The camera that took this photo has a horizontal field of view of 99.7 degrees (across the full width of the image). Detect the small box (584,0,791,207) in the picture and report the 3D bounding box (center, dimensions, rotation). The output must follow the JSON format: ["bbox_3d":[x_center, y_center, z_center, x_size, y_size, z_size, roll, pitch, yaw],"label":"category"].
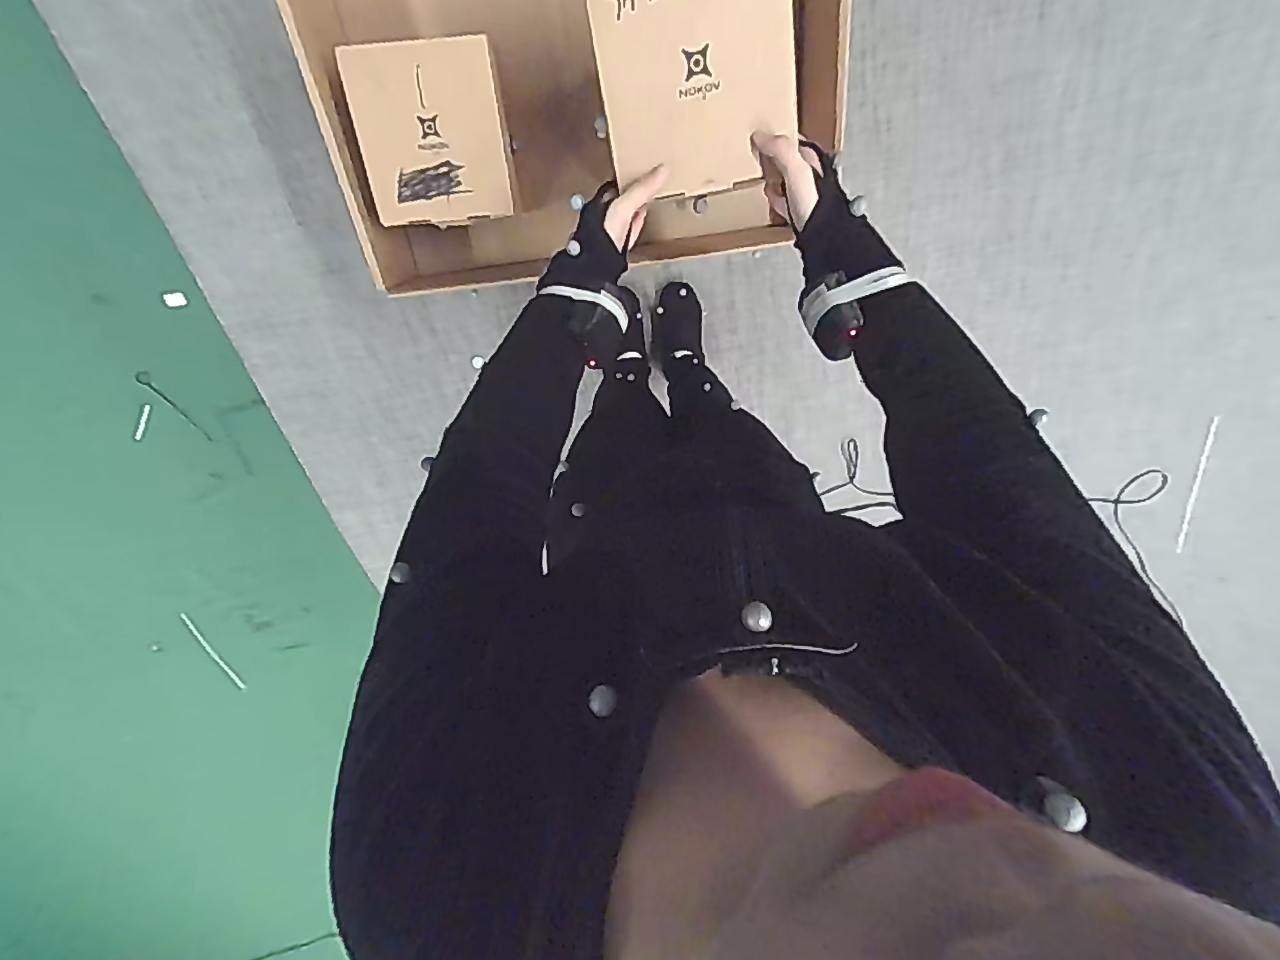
[{"bbox_3d":[0.046,-0.379,0.531,0.168,0.176,0.179,-8,117,4],"label":"small box"}]
